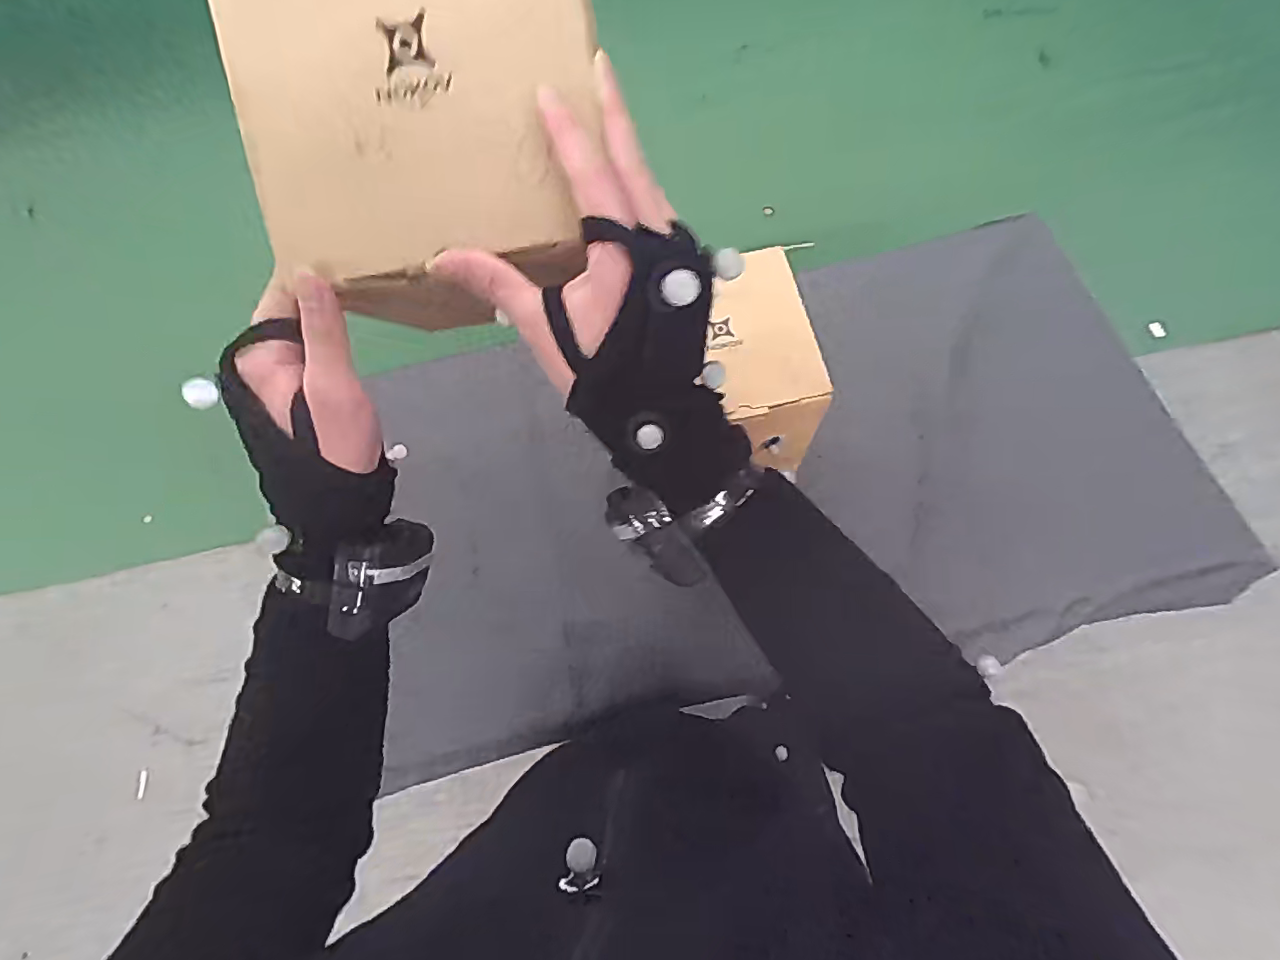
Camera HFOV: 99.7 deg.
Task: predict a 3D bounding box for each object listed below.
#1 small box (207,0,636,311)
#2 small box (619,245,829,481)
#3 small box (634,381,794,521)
[{"bbox_3d":[-0.095,-0.199,0.307,0.168,0.176,0.179,-8,100,2],"label":"small box"},{"bbox_3d":[0.079,-0.110,0.577,0.168,0.176,0.179,-11,68,-1],"label":"small box"},{"bbox_3d":[0.093,-0.053,0.728,0.168,0.176,0.179,-12,68,1],"label":"small box"}]
